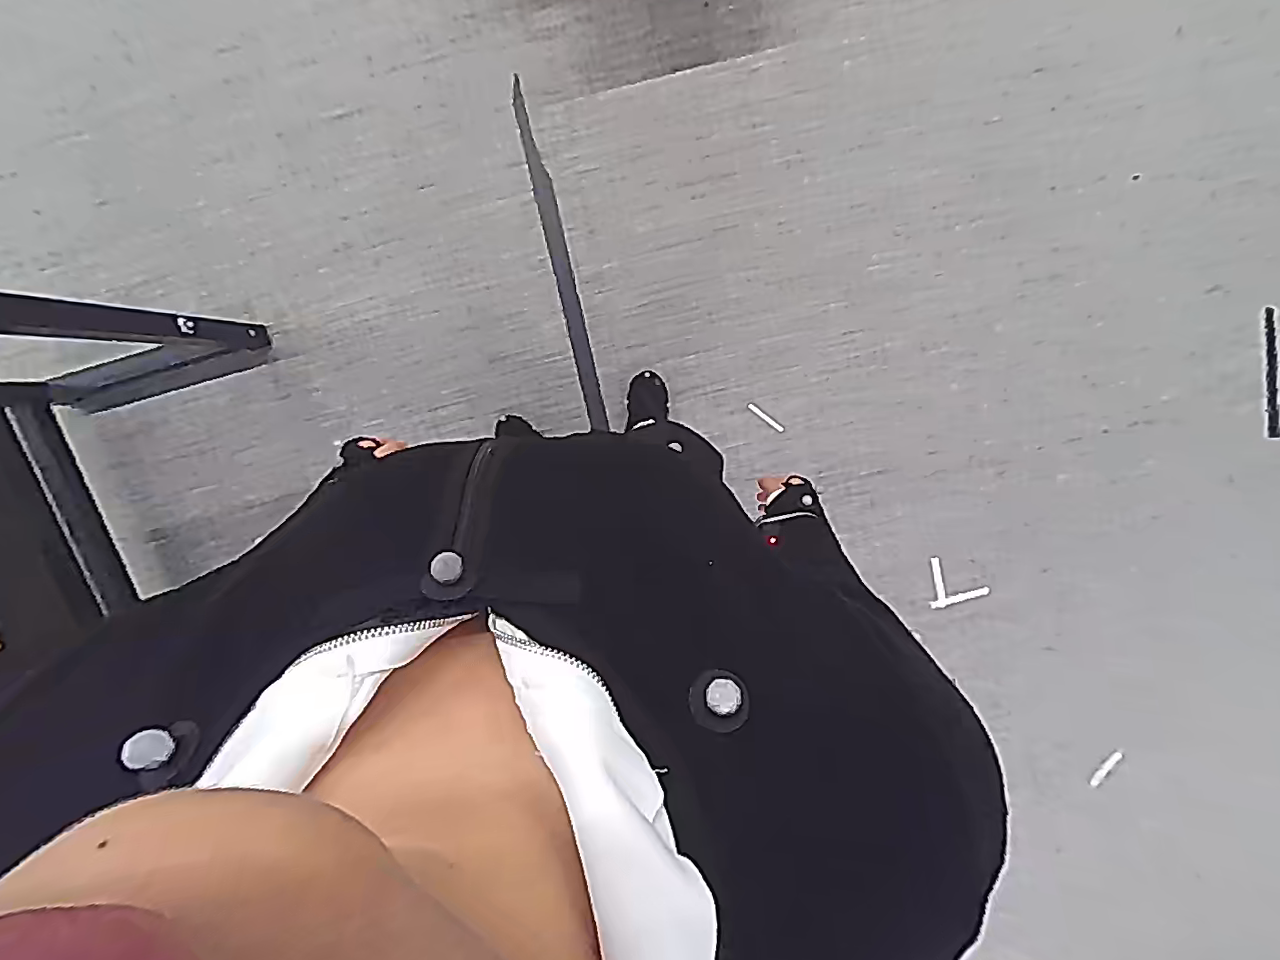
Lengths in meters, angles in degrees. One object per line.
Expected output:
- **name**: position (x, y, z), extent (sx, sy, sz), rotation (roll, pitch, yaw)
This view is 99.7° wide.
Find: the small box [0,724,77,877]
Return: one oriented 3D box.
- **small box**: position (-0.947, 0.457, 0.732), extent (0.168, 0.176, 0.179), rotation (-13, 101, 2)
